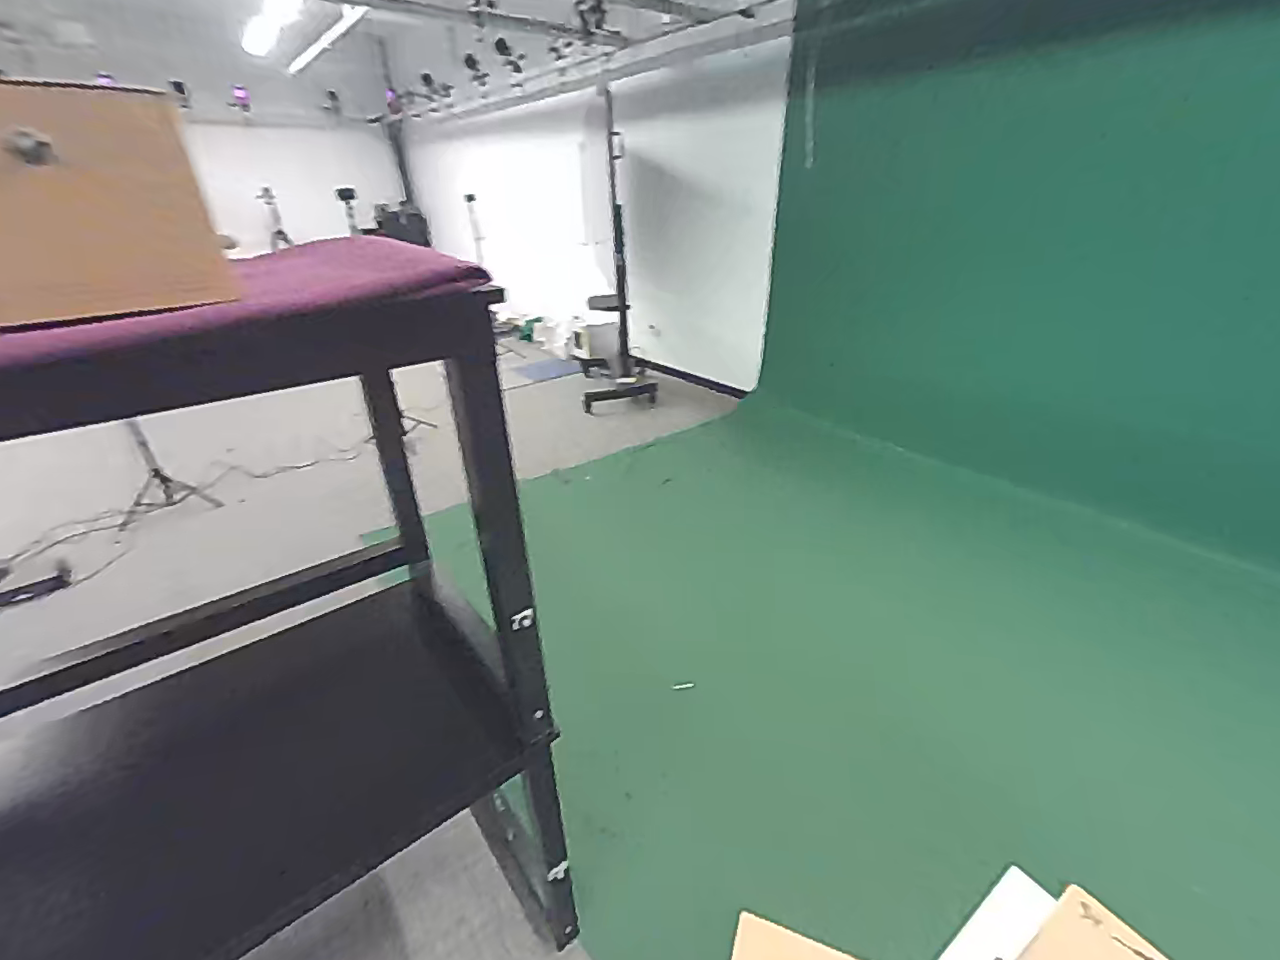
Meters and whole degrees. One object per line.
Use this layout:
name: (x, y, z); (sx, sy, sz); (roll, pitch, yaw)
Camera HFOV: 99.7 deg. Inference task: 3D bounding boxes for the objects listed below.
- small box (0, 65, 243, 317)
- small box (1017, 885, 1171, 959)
small box: (-0.495, -0.247, 0.484); (0.179, 0.176, 0.168); (-22, 32, -33)
small box: (0.529, 0.638, 0.624); (0.179, 0.176, 0.168); (-19, 33, -28)
